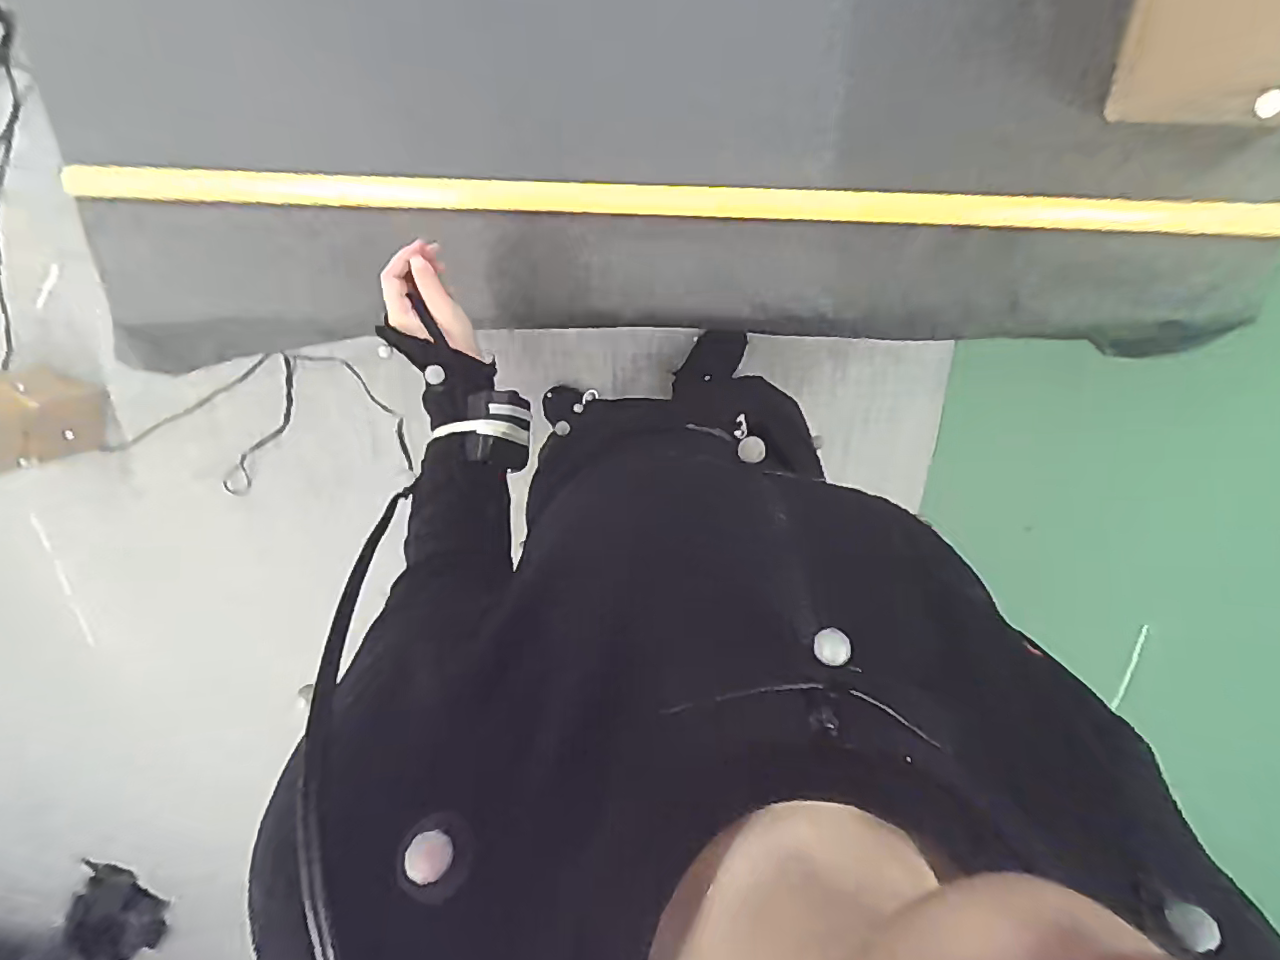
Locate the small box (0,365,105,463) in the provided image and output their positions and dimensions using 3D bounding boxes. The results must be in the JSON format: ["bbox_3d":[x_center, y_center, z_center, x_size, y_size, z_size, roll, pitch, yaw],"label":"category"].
[{"bbox_3d":[-1.518,-0.172,1.369,0.168,0.176,0.179,23,110,-4],"label":"small box"}]

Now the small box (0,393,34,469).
[{"bbox_3d":[-1.540,-0.118,1.215,0.179,0.176,0.168,28,109,-5],"label":"small box"}]

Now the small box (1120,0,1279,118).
[{"bbox_3d":[0.493,-0.370,0.373,0.168,0.176,0.179,3,110,4],"label":"small box"}]
